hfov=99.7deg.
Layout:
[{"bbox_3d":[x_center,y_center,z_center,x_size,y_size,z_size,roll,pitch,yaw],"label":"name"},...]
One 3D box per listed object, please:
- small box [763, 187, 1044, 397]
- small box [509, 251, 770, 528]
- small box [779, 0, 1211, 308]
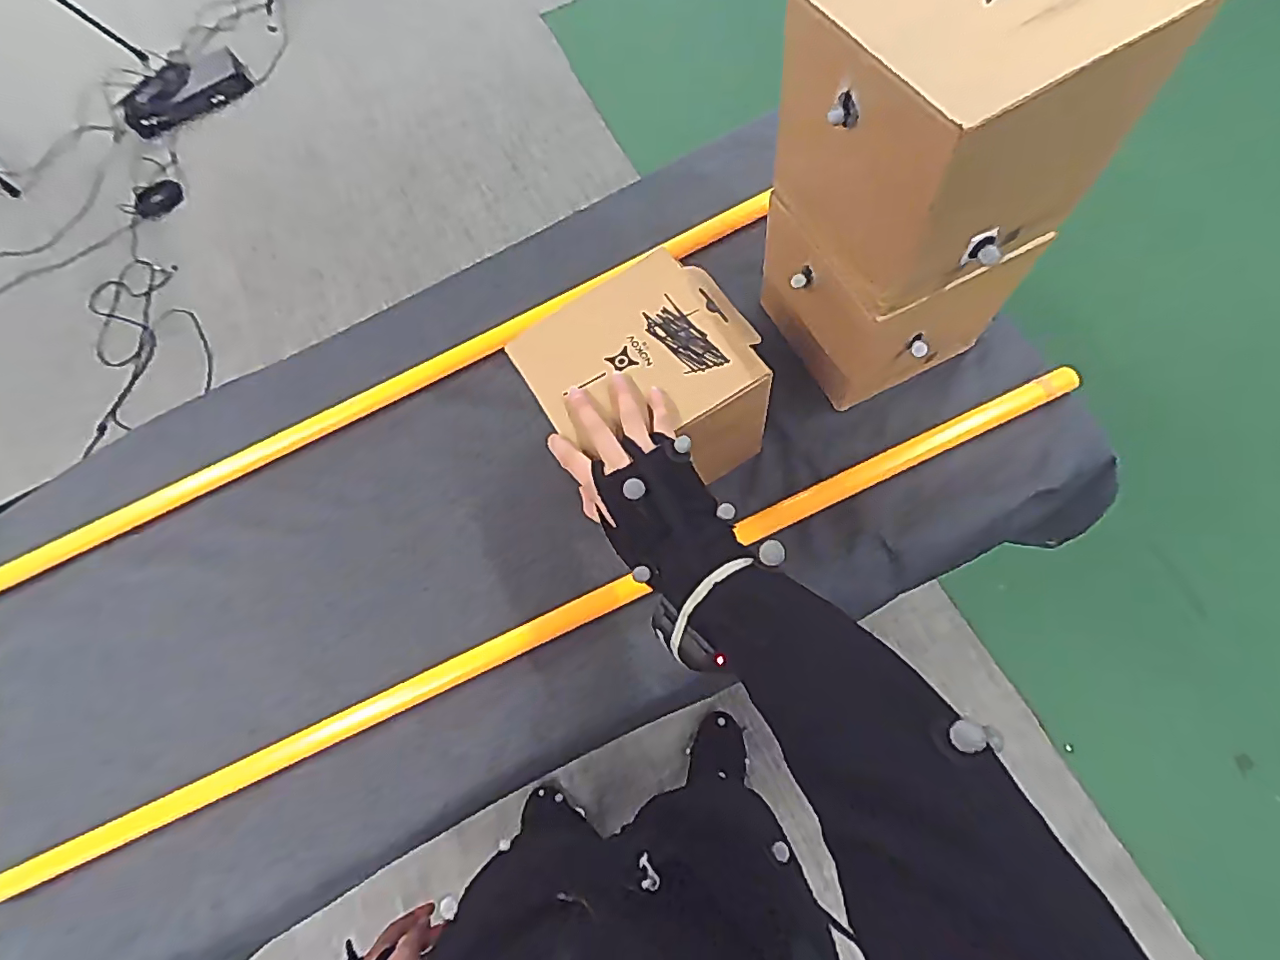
[{"bbox_3d":[0.240,-0.206,0.548,0.168,0.176,0.179,-27,67,-1],"label":"small box"},{"bbox_3d":[0.005,-0.078,0.538,0.179,0.176,0.168,-32,68,-3],"label":"small box"},{"bbox_3d":[0.217,-0.267,0.399,0.168,0.176,0.179,-29,68,0],"label":"small box"}]
